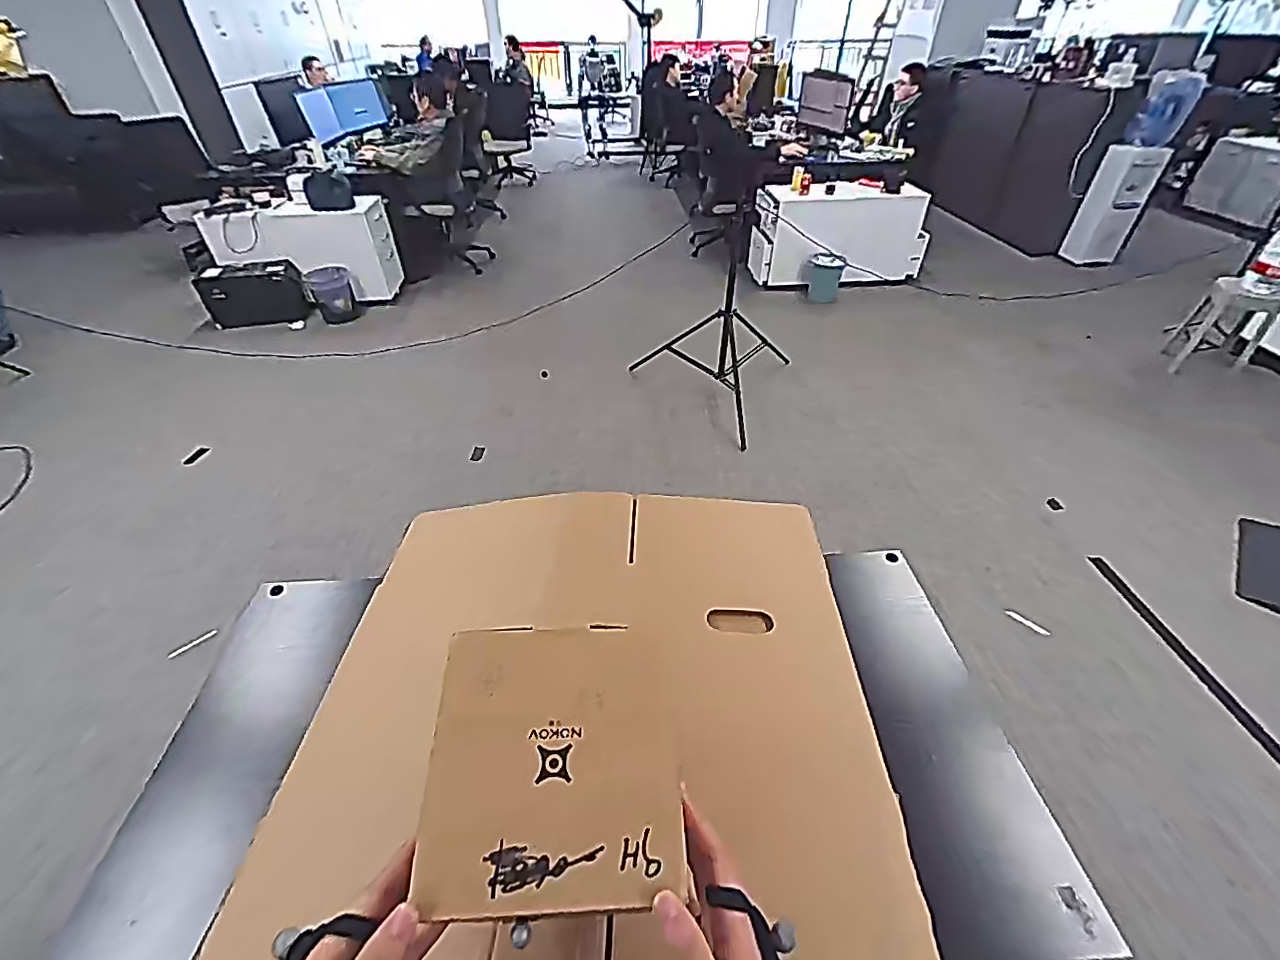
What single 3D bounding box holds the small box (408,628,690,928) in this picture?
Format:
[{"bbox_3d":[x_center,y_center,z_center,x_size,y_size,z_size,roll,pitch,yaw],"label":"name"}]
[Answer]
[{"bbox_3d":[-0.059,0.234,0.425,0.168,0.176,0.179,-1,50,-4],"label":"small box"}]
